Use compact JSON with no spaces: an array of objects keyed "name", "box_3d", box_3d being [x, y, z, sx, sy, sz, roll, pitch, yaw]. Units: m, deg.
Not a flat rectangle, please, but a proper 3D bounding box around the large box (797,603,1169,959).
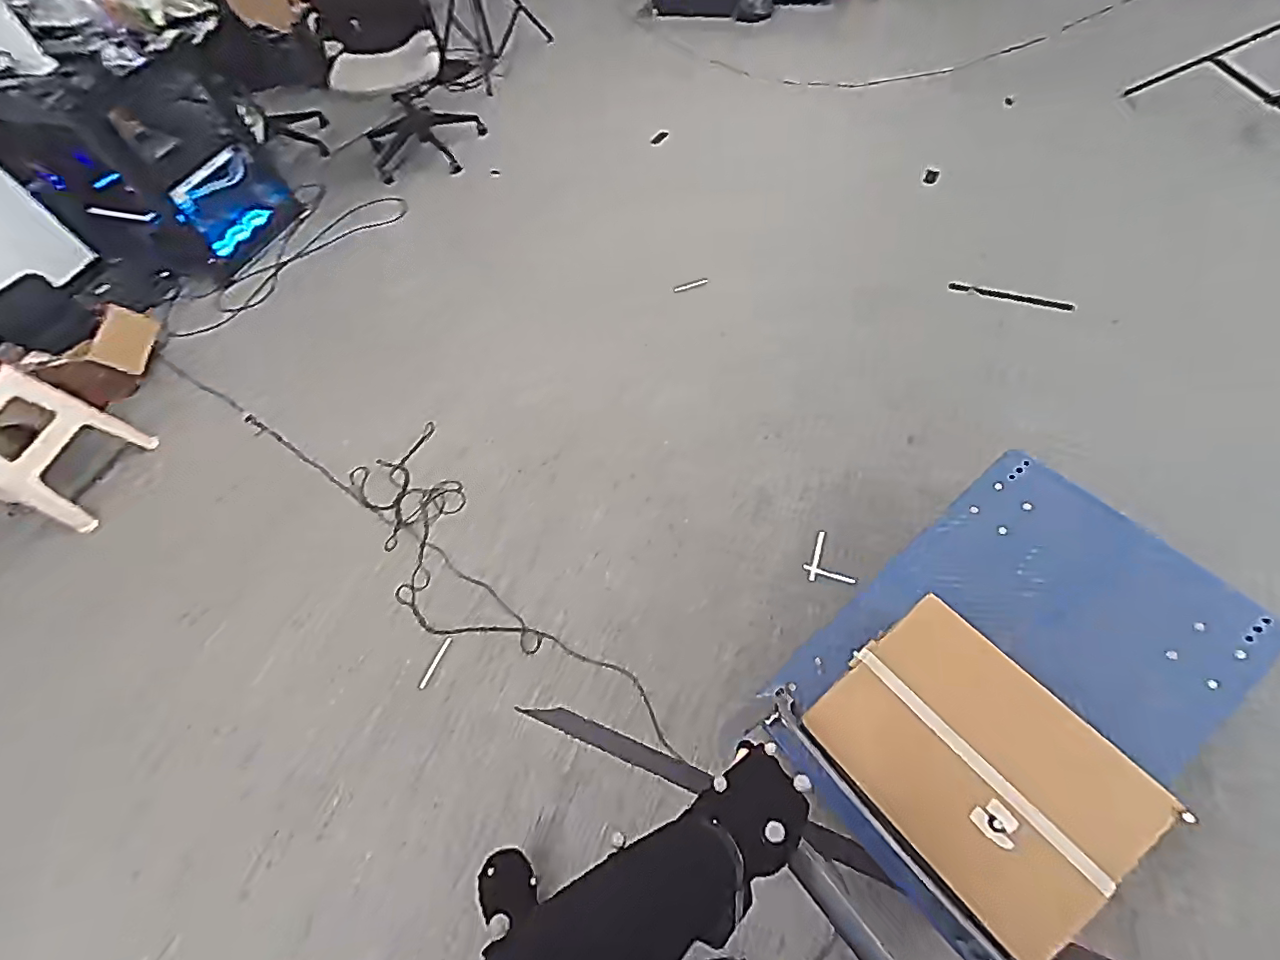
[{"name":"large box","box_3d":[0.536,0.488,0.957,0.320,0.320,0.408,-43,64,-4]}]
